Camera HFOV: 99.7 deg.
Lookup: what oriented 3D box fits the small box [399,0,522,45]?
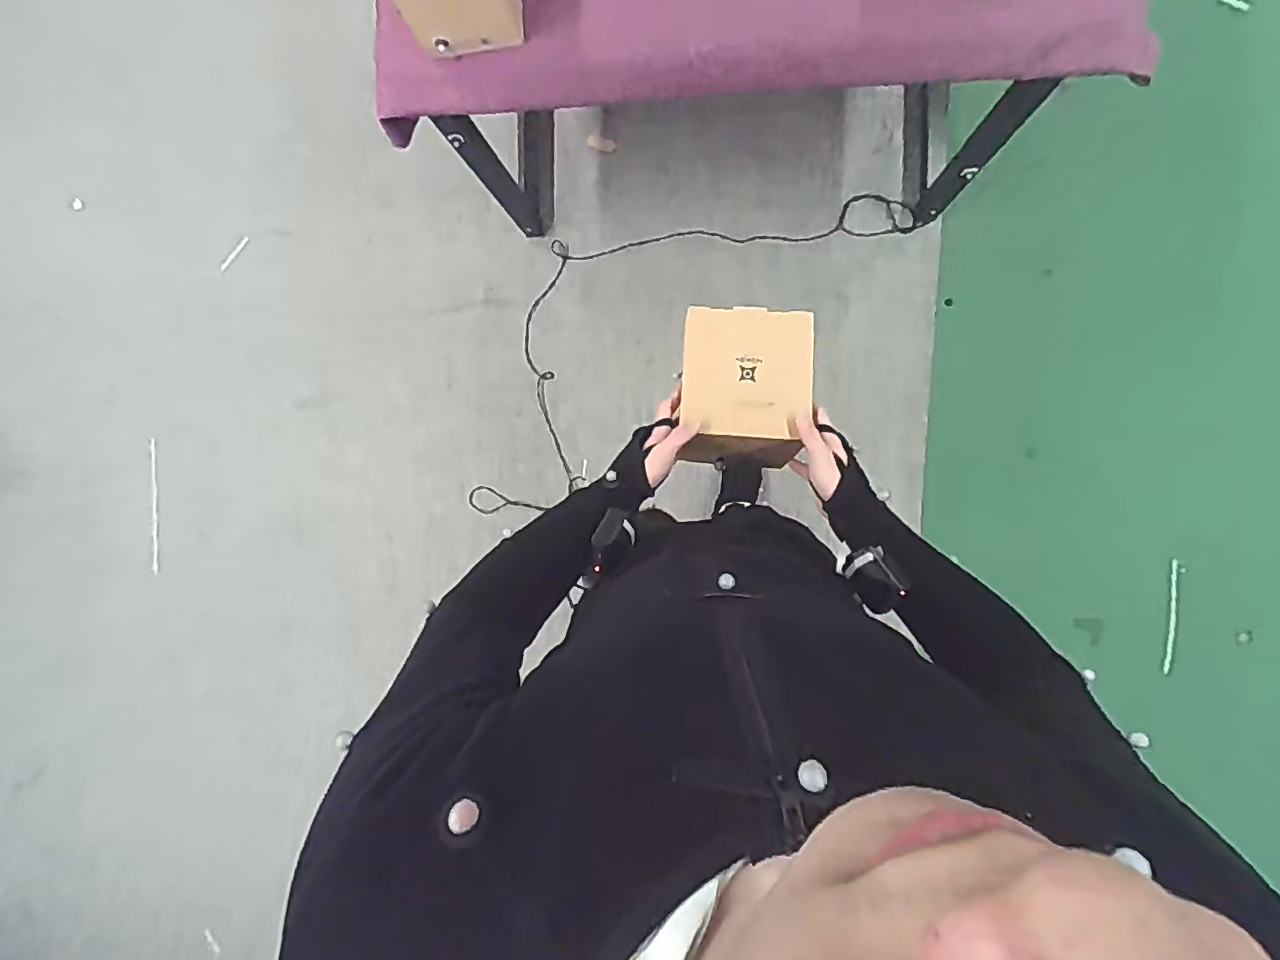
[{"bbox_3d":[-0.285,-0.809,0.825,0.168,0.176,0.179,-2,90,7],"label":"small box"}]

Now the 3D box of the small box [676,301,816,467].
[{"bbox_3d":[0.139,-0.126,0.758,0.168,0.176,0.179,4,80,3],"label":"small box"}]
